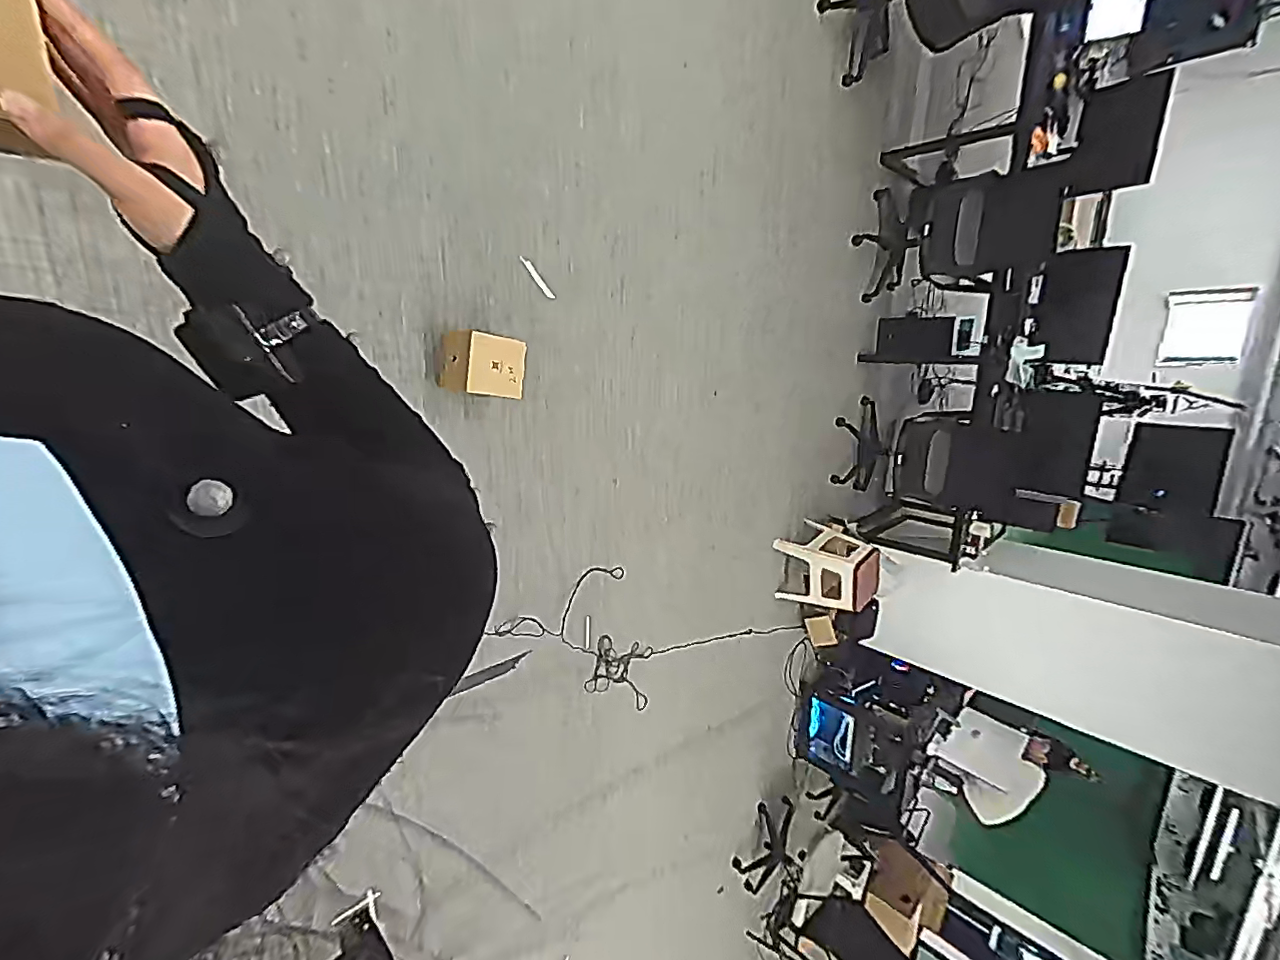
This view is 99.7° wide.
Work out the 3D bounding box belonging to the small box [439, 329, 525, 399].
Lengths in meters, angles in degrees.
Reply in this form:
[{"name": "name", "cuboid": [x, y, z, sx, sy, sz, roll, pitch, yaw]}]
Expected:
[{"name": "small box", "cuboid": [-0.458, -0.330, 1.555, 0.179, 0.176, 0.168, 1, 99, -46]}]
